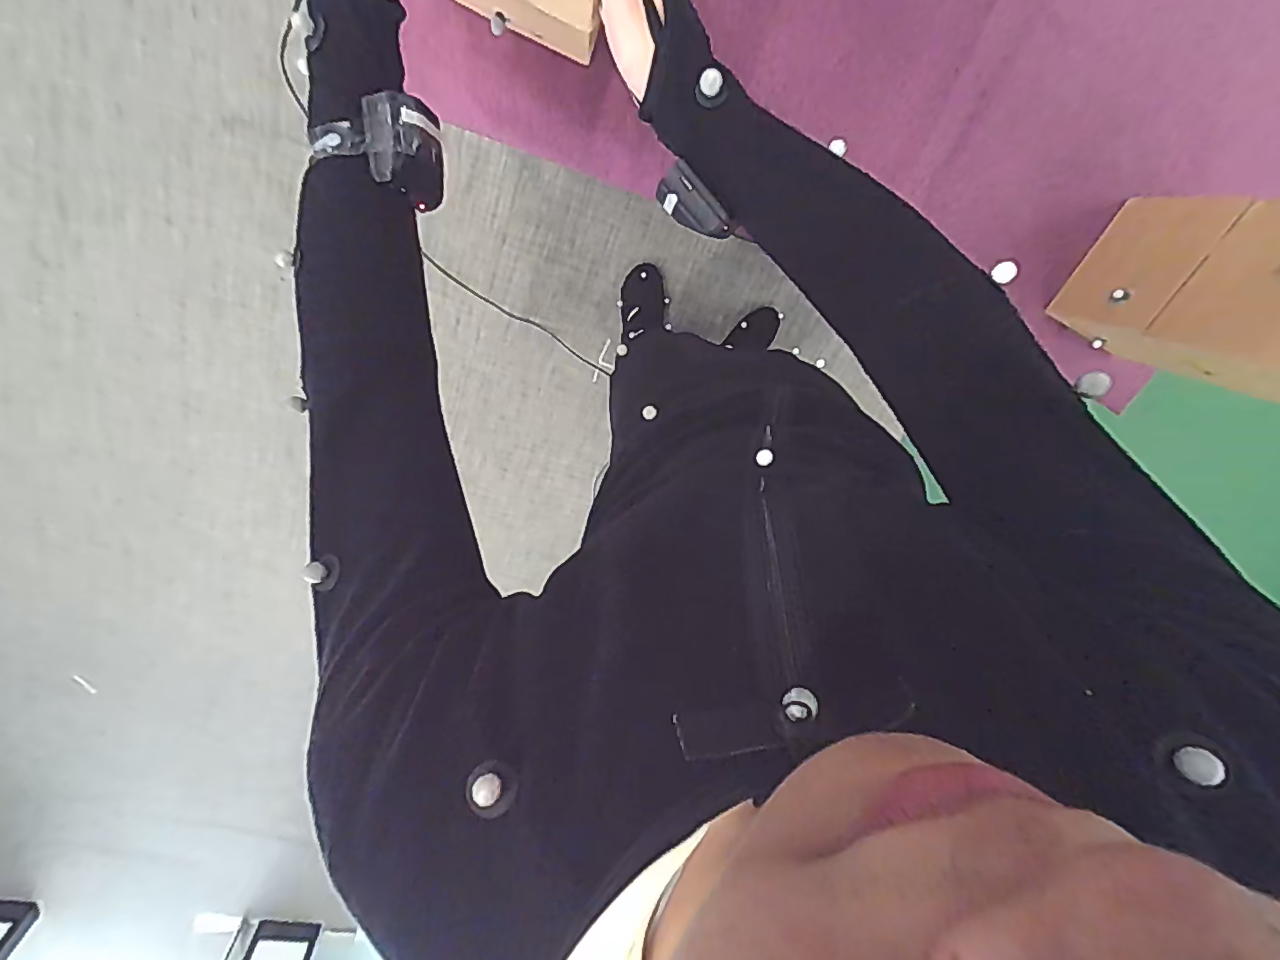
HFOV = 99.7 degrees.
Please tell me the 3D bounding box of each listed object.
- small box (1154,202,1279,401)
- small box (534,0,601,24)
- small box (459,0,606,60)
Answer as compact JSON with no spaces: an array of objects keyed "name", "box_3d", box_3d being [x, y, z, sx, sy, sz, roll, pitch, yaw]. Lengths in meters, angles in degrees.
[{"name":"small box","box_3d":[0.750,-0.190,0.597,0.168,0.176,0.179,21,112,-15]},{"name":"small box","box_3d":[-0.082,-0.468,0.372,0.168,0.176,0.179,18,114,-14]},{"name":"small box","box_3d":[-0.098,-0.549,0.511,0.168,0.176,0.179,17,114,-14]}]
